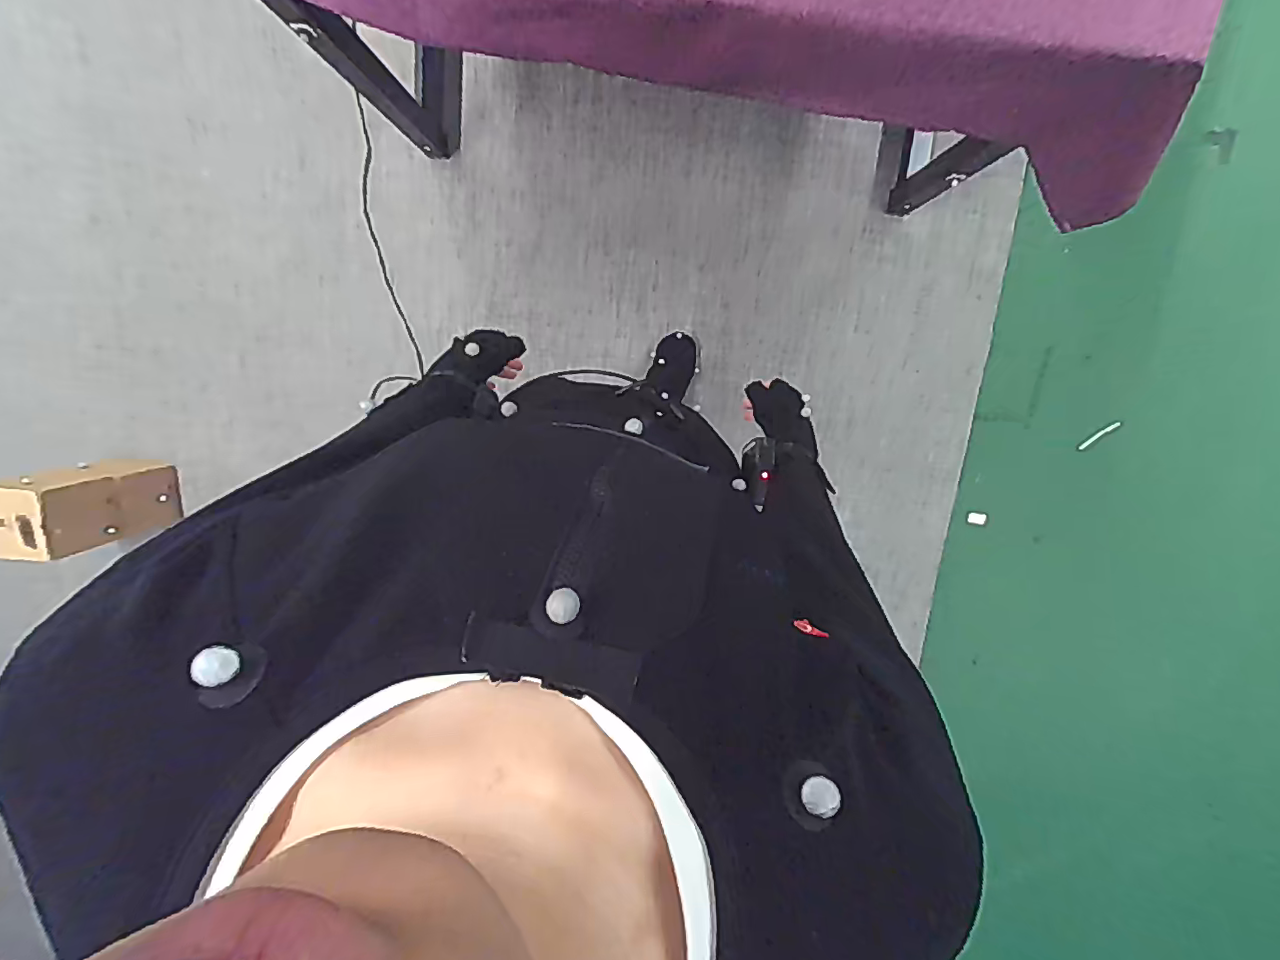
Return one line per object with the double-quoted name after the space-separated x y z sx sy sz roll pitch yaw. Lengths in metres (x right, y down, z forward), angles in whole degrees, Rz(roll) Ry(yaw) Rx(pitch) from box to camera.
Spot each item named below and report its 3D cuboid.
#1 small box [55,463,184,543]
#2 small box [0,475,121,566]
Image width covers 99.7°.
-1.360 0.055 1.422 0.179 0.176 0.168 5 103 -1 "small box"
-1.369 0.088 1.262 0.179 0.176 0.168 4 102 1 "small box"
